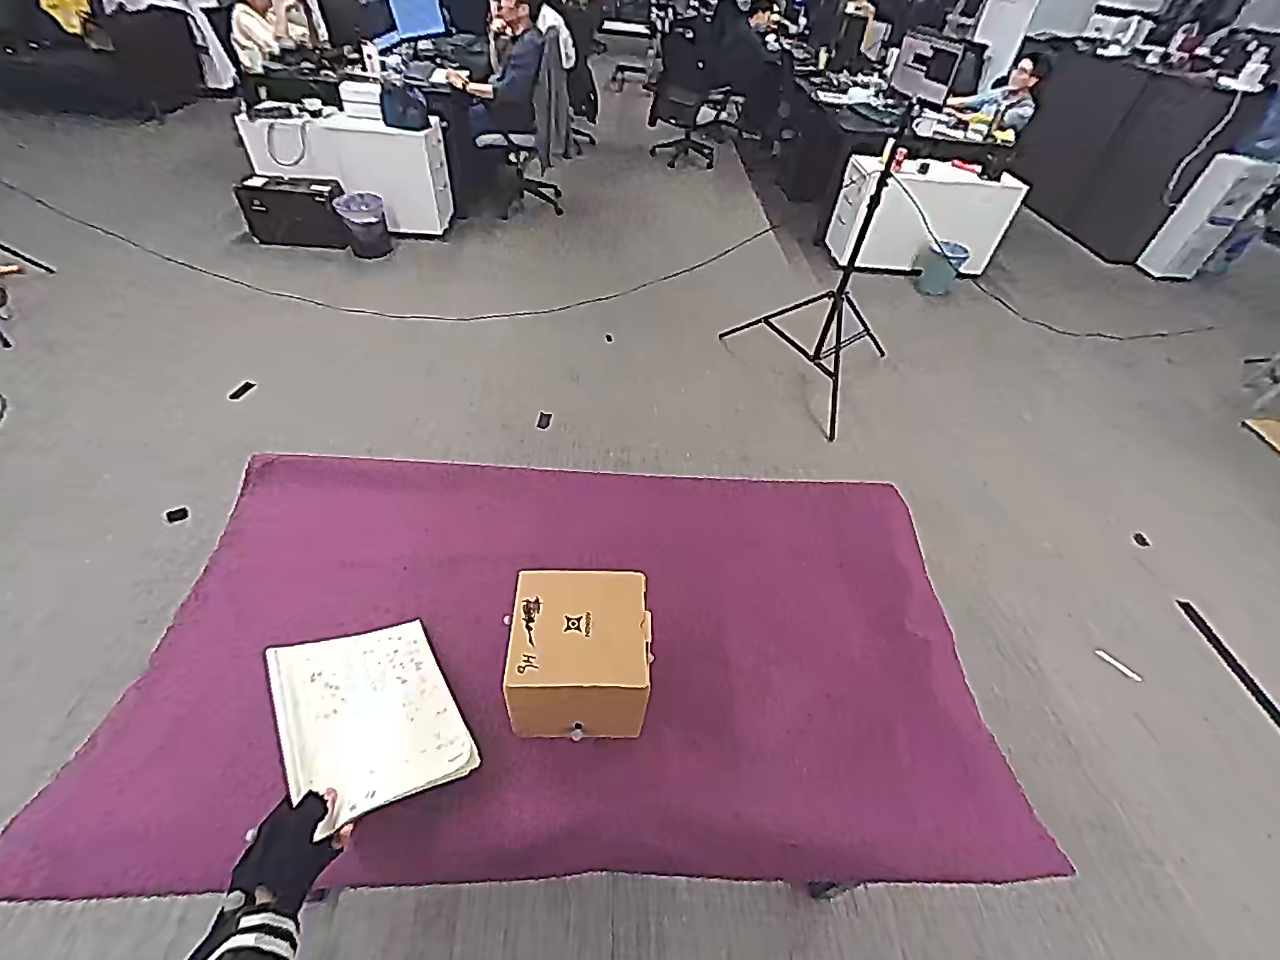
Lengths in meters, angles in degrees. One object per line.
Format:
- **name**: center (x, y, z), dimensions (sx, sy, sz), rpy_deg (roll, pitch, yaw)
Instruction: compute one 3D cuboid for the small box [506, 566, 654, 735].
- **small box**: center (-0.080, 0.237, 0.747), dimensions (0.179, 0.176, 0.168), rpy_deg (2, 45, -5)
